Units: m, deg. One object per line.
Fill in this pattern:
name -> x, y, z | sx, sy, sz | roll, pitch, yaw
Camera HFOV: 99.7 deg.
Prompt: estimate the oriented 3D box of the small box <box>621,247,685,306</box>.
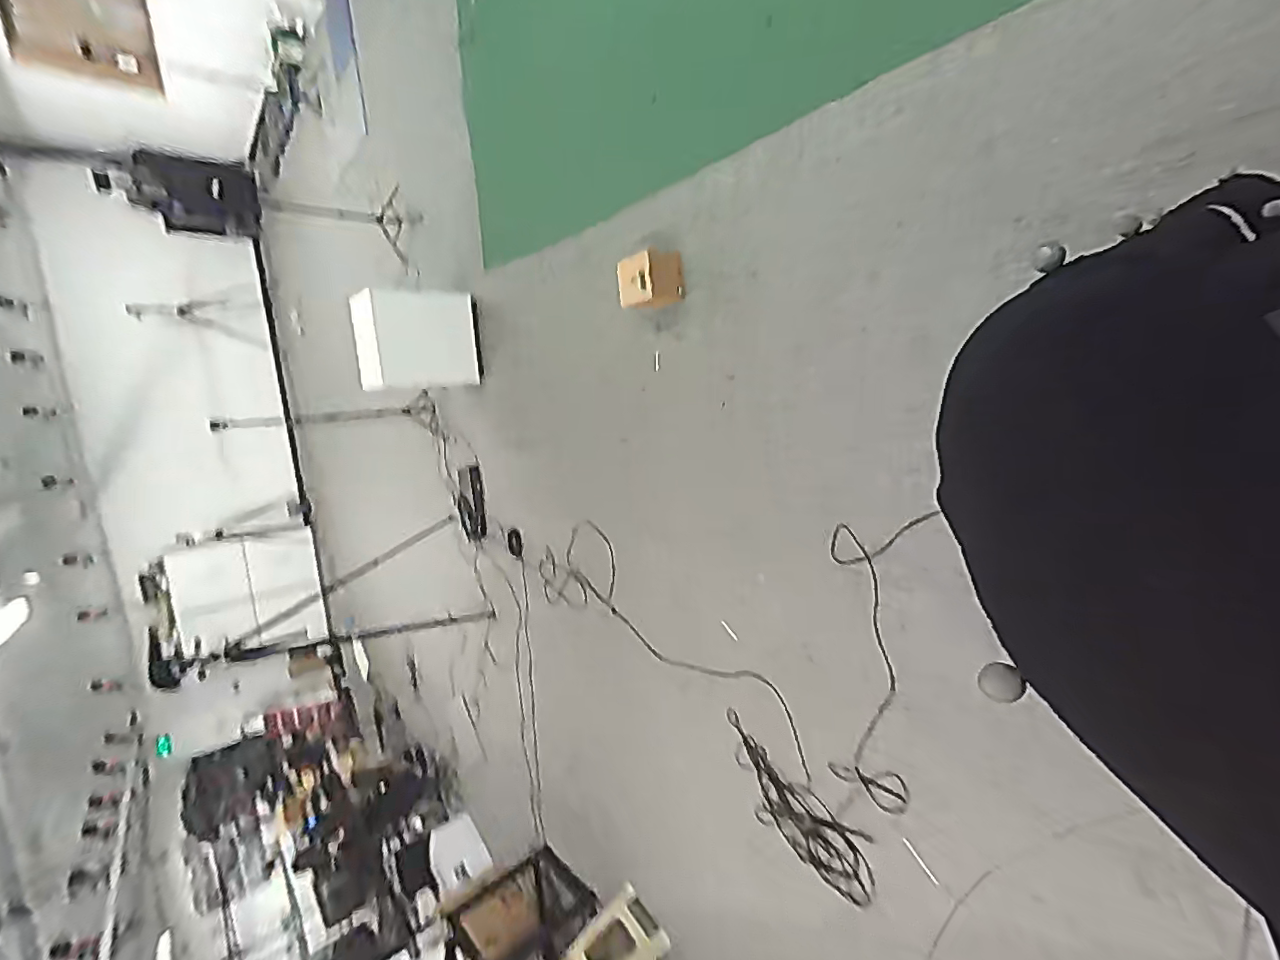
small box -> 0.055, -0.743, 1.988 | 0.179, 0.176, 0.168 | 3, 101, 50
